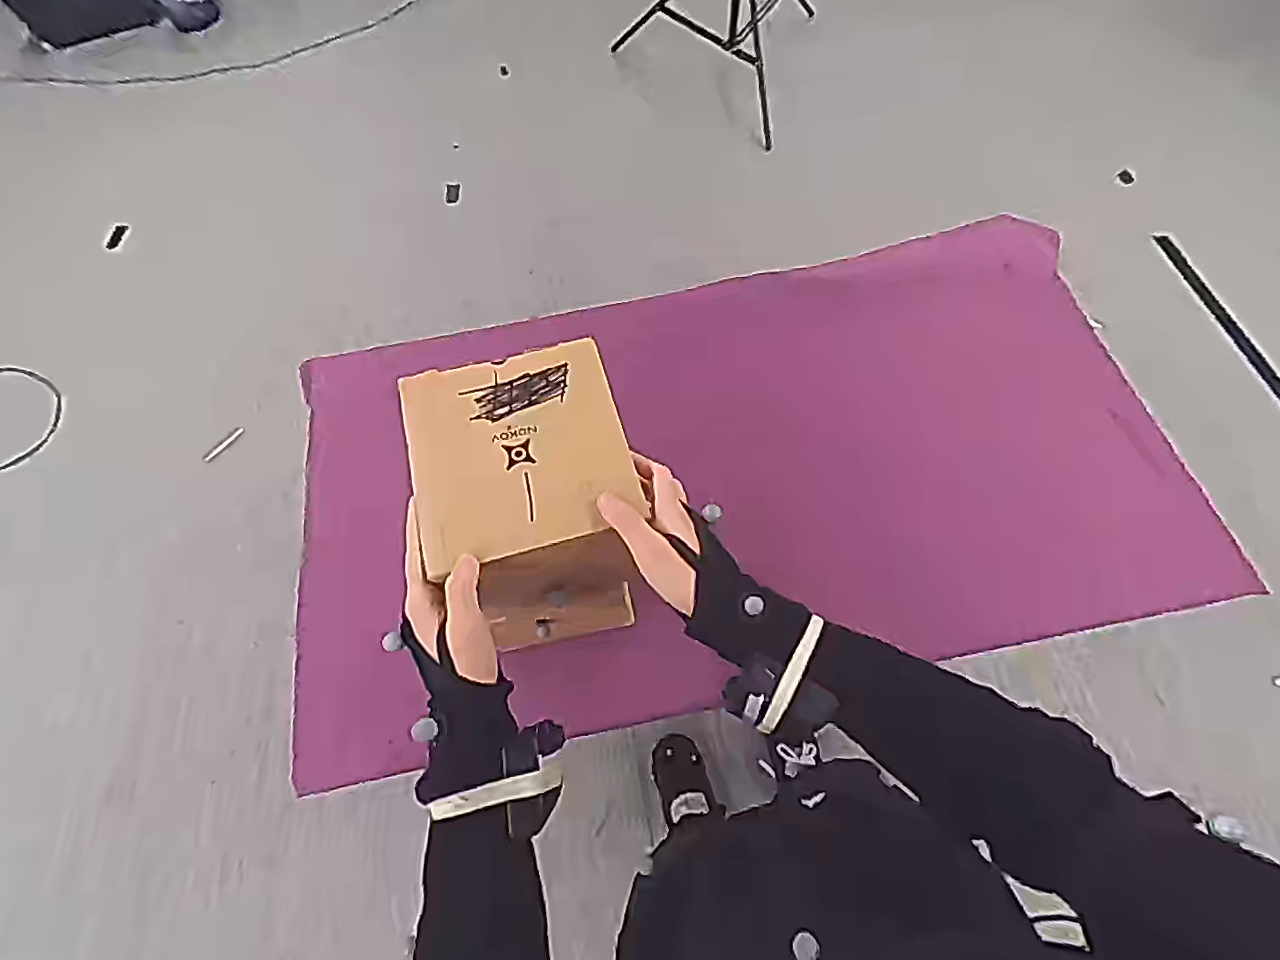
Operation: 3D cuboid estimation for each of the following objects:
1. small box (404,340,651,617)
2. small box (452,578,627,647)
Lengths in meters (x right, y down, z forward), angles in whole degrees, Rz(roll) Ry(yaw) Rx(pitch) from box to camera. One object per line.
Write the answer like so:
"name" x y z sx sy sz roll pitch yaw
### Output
"small box" -0.095 0.007 0.492 0.168 0.176 0.179 -15 67 -8
"small box" -0.114 0.096 0.653 0.179 0.176 0.168 -12 66 -1
